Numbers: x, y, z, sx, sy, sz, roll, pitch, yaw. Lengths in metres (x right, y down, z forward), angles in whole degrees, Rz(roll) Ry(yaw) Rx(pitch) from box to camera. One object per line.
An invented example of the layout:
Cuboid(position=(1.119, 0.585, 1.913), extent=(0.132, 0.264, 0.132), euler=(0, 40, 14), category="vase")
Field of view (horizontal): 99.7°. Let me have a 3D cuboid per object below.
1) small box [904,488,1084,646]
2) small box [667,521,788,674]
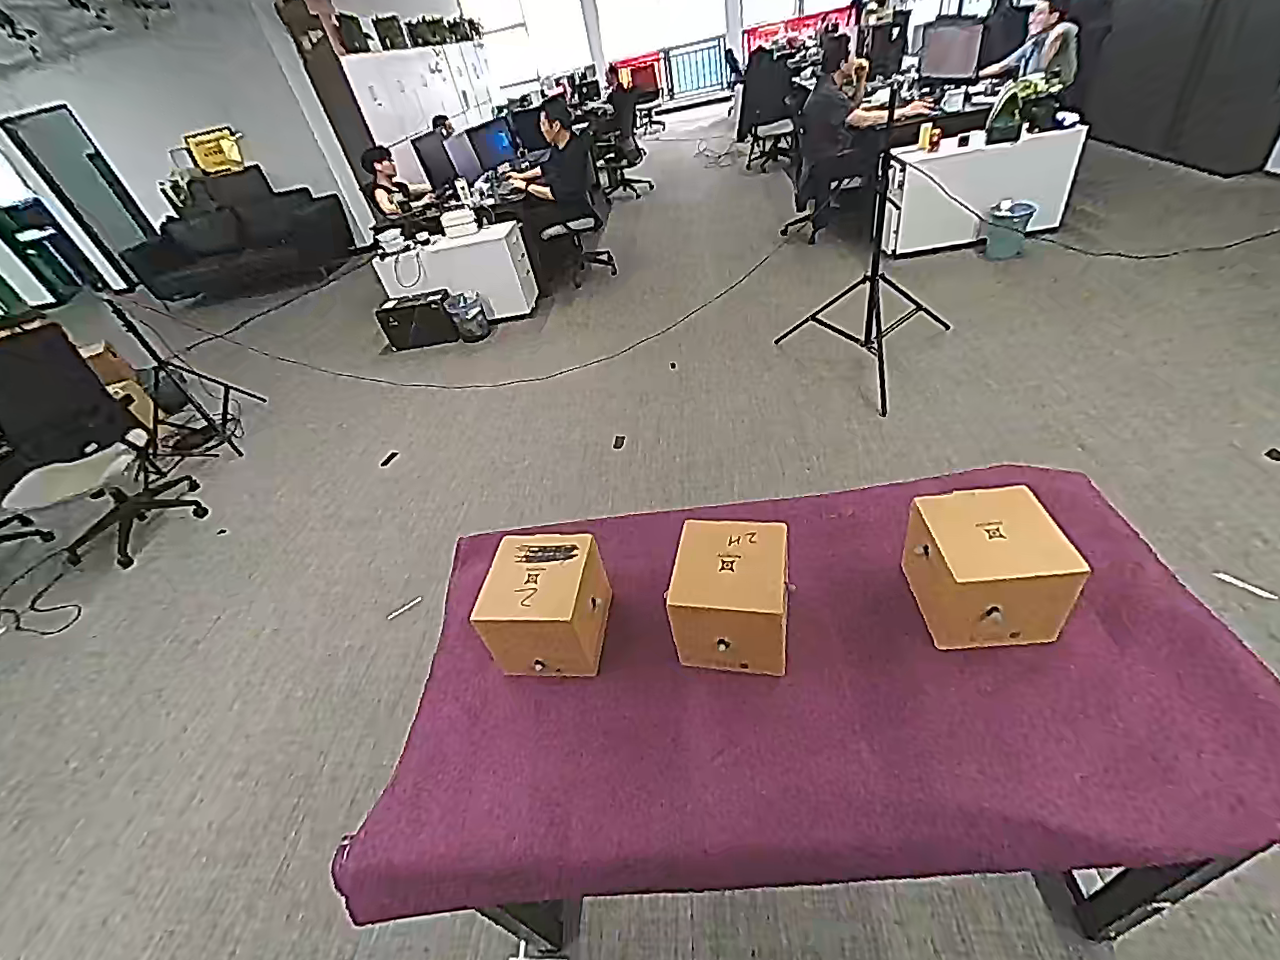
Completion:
Cuboid(position=(0.522, 0.139, 0.829), extent=(0.168, 0.176, 0.179), euler=(-7, 38, 9), category="small box")
Cuboid(position=(0.151, 0.189, 0.874), extent=(0.168, 0.176, 0.179), euler=(2, 41, 17), category="small box")
